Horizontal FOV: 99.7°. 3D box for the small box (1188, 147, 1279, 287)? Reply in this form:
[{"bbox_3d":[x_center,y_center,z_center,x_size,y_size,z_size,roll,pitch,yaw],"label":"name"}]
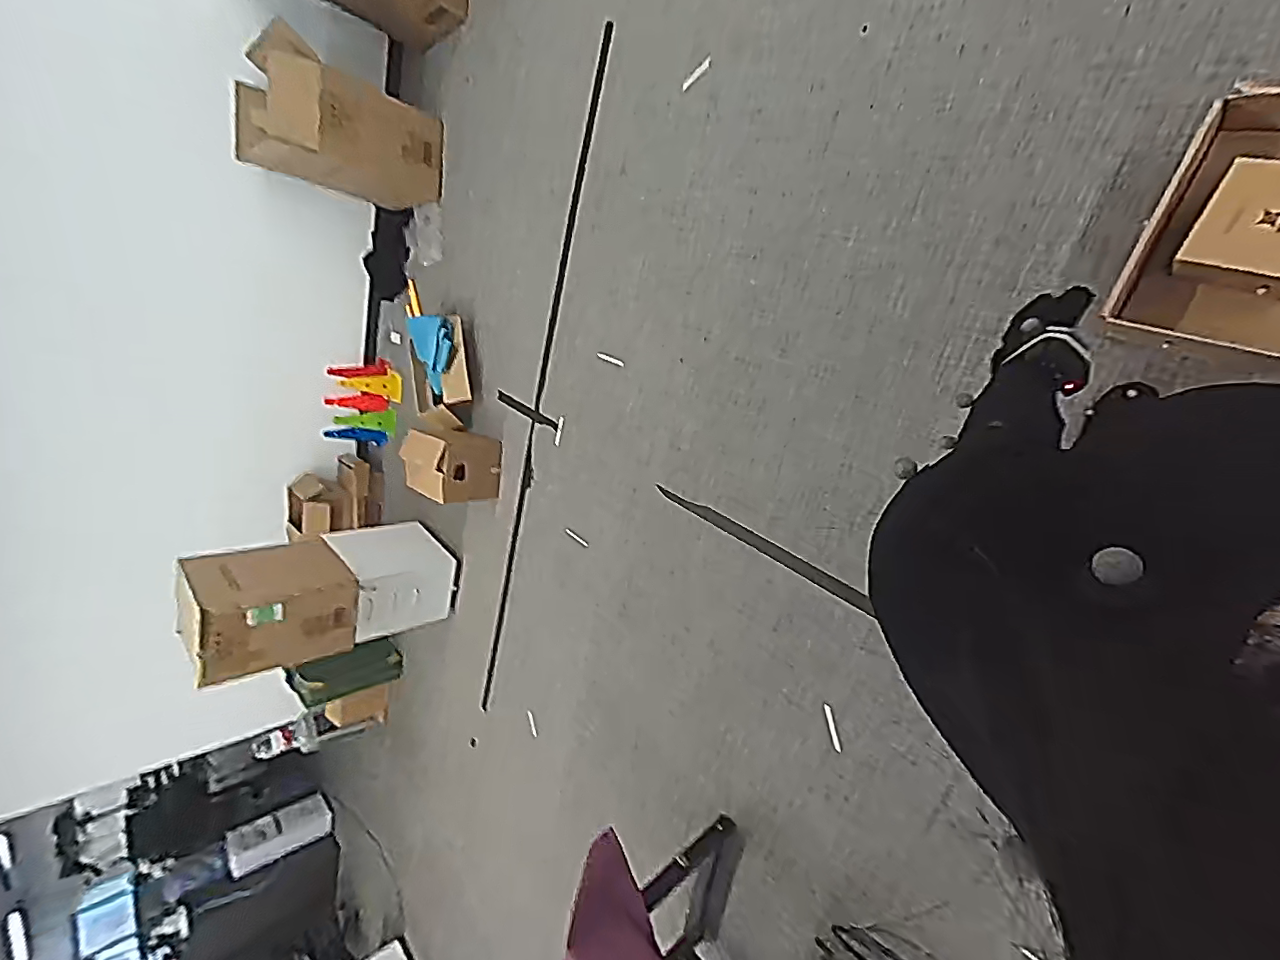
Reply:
[{"bbox_3d":[1.083,-0.434,0.910,0.179,0.176,0.168,35,117,37],"label":"small box"}]
